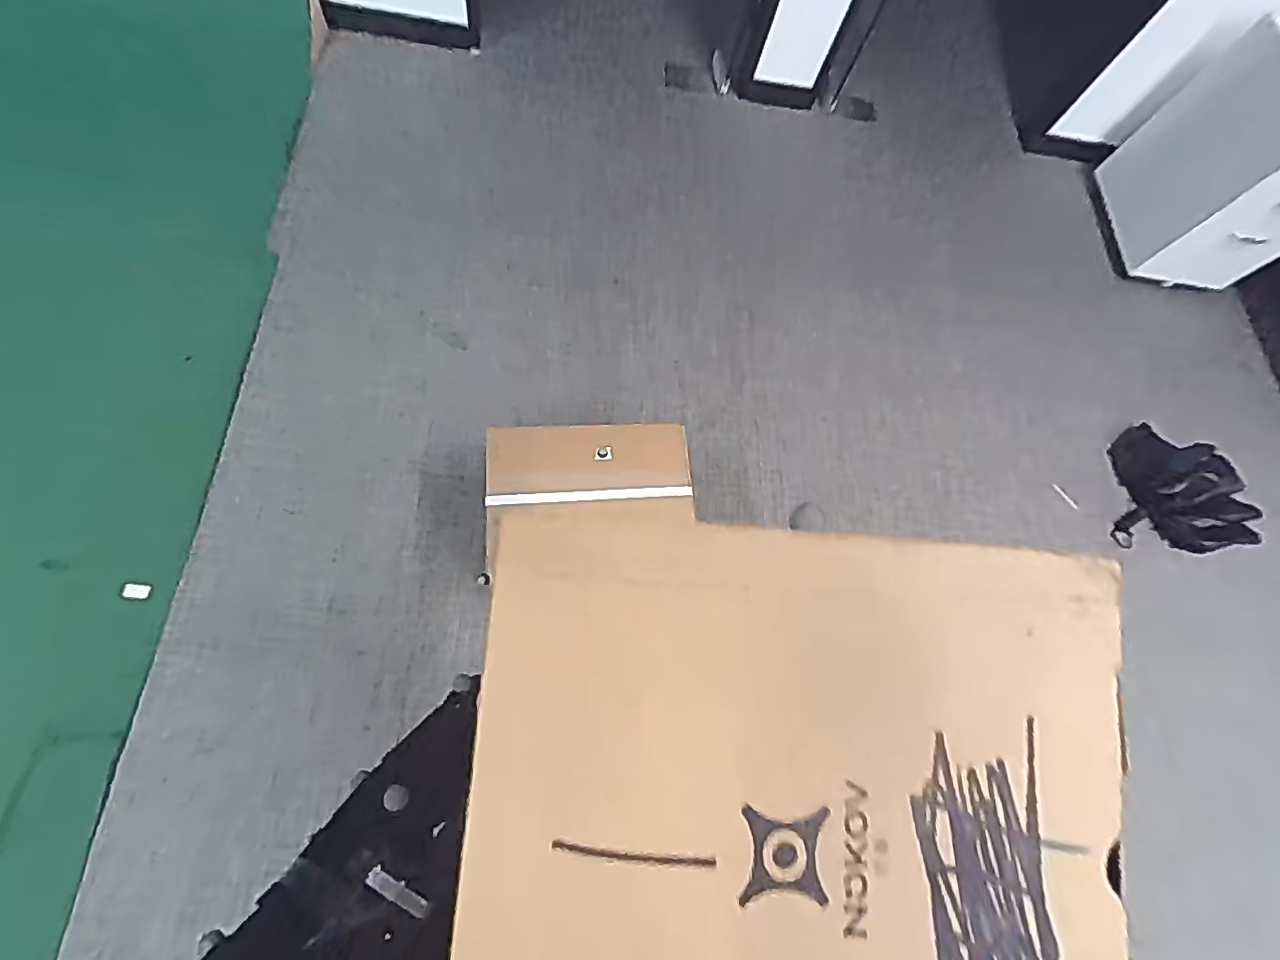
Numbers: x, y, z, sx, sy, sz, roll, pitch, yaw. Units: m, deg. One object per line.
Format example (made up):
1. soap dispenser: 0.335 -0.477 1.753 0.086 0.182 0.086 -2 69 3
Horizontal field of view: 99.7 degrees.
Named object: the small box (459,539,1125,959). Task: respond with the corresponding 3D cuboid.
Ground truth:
1. small box: 0.034 0.110 0.215 0.179 0.176 0.168 3 81 -7
